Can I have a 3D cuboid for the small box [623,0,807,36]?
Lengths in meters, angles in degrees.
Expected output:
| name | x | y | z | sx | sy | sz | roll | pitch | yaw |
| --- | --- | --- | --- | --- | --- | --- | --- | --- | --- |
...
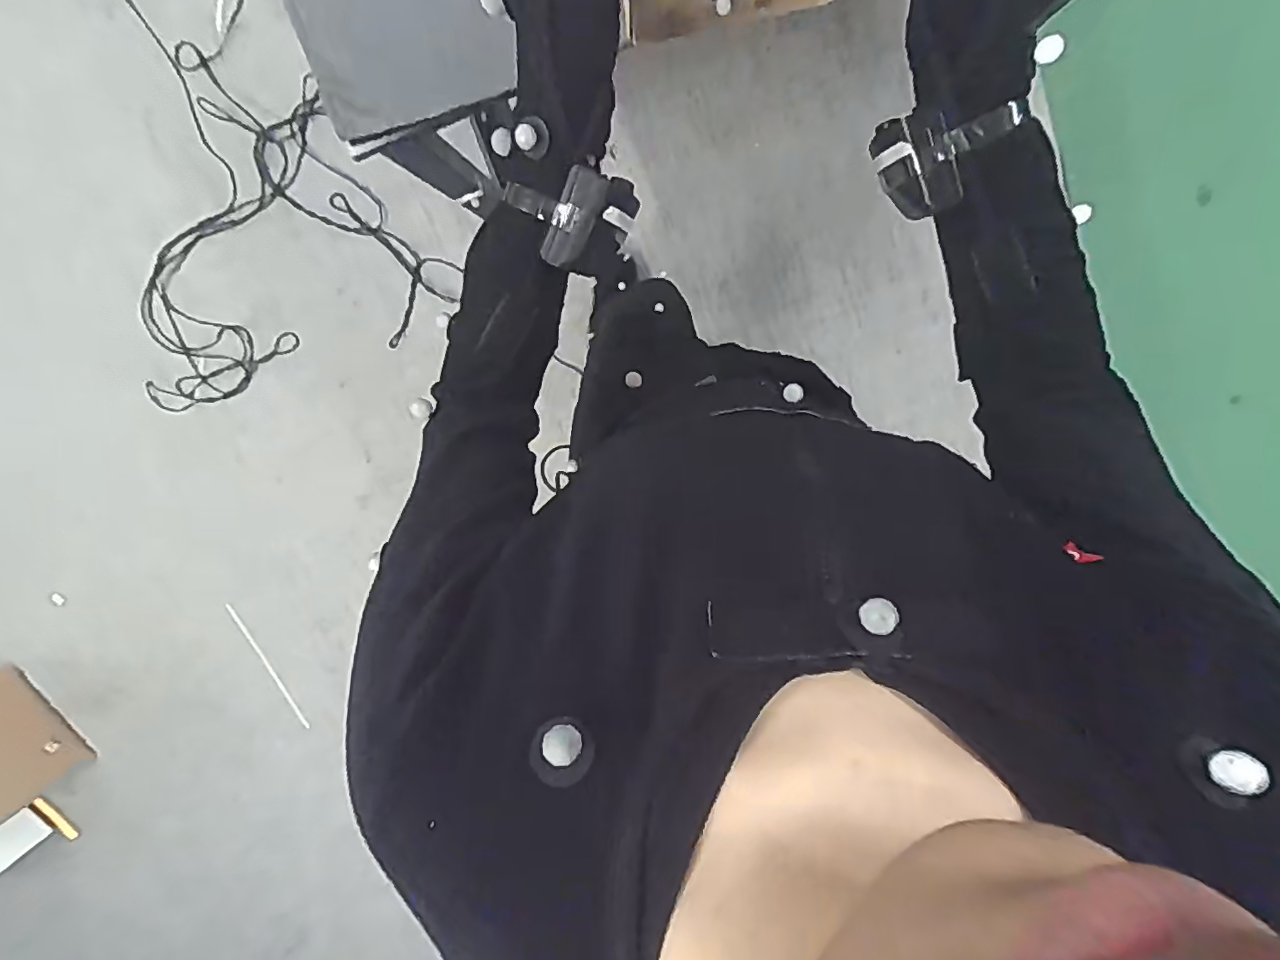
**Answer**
| name | x | y | z | sx | sy | sz | roll | pitch | yaw |
| --- | --- | --- | --- | --- | --- | --- | --- | --- | --- |
| small box | 0.055 | -0.432 | 0.340 | 0.168 | 0.176 | 0.179 | -9 | 110 | 4 |
